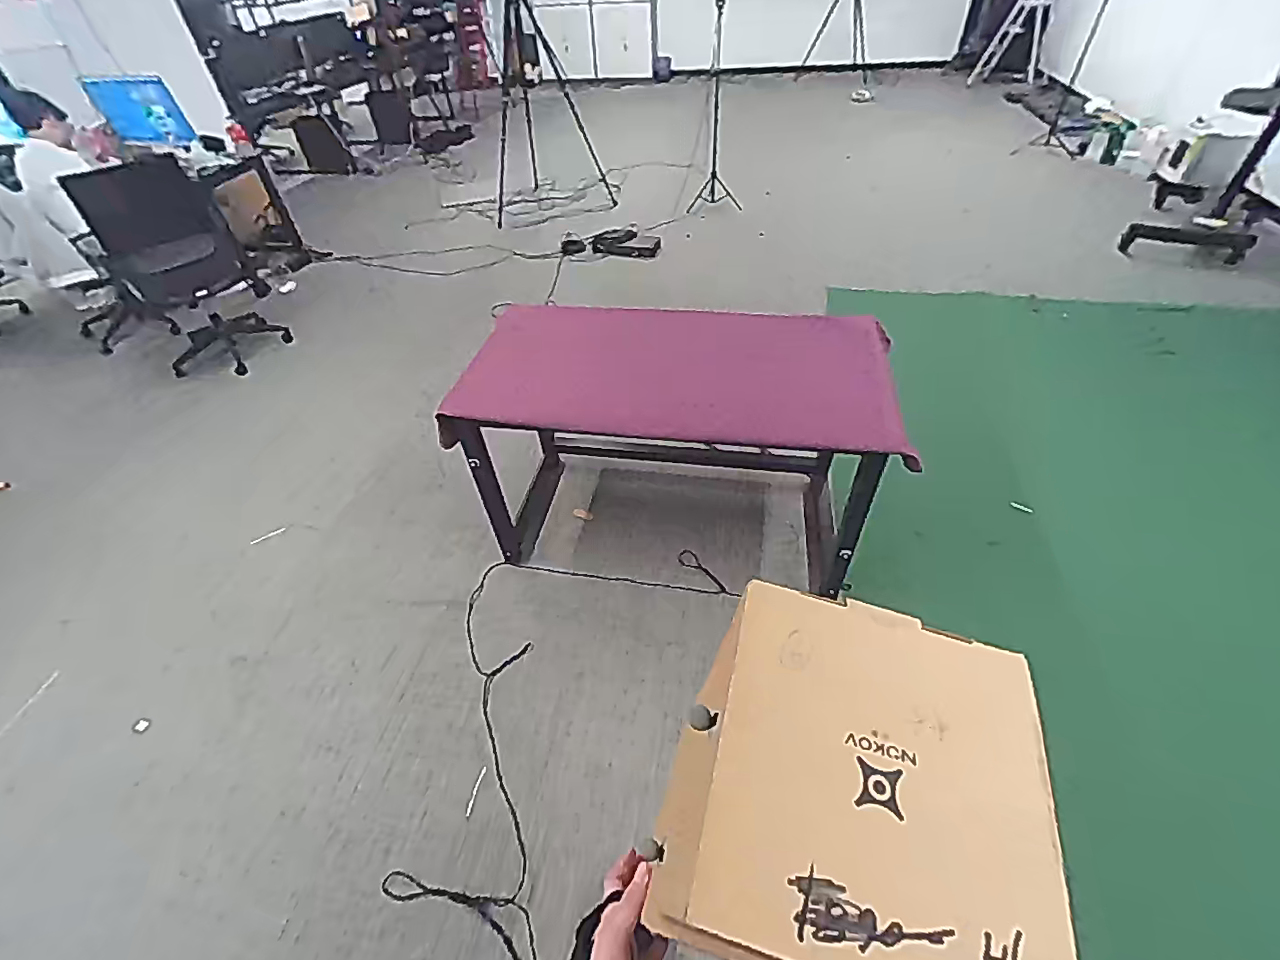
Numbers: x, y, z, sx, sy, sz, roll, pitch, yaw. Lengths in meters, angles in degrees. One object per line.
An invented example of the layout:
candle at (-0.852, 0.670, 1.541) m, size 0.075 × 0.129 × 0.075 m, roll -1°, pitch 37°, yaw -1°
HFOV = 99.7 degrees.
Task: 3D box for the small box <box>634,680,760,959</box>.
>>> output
small box at (0.097, 0.304, 0.464) m, size 0.168 × 0.176 × 0.179 m, roll 15°, pitch 53°, yaw 8°

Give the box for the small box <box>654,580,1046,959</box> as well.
small box at (0.109, 0.196, 0.341) m, size 0.168 × 0.176 × 0.179 m, roll 14°, pitch 53°, yaw 9°
